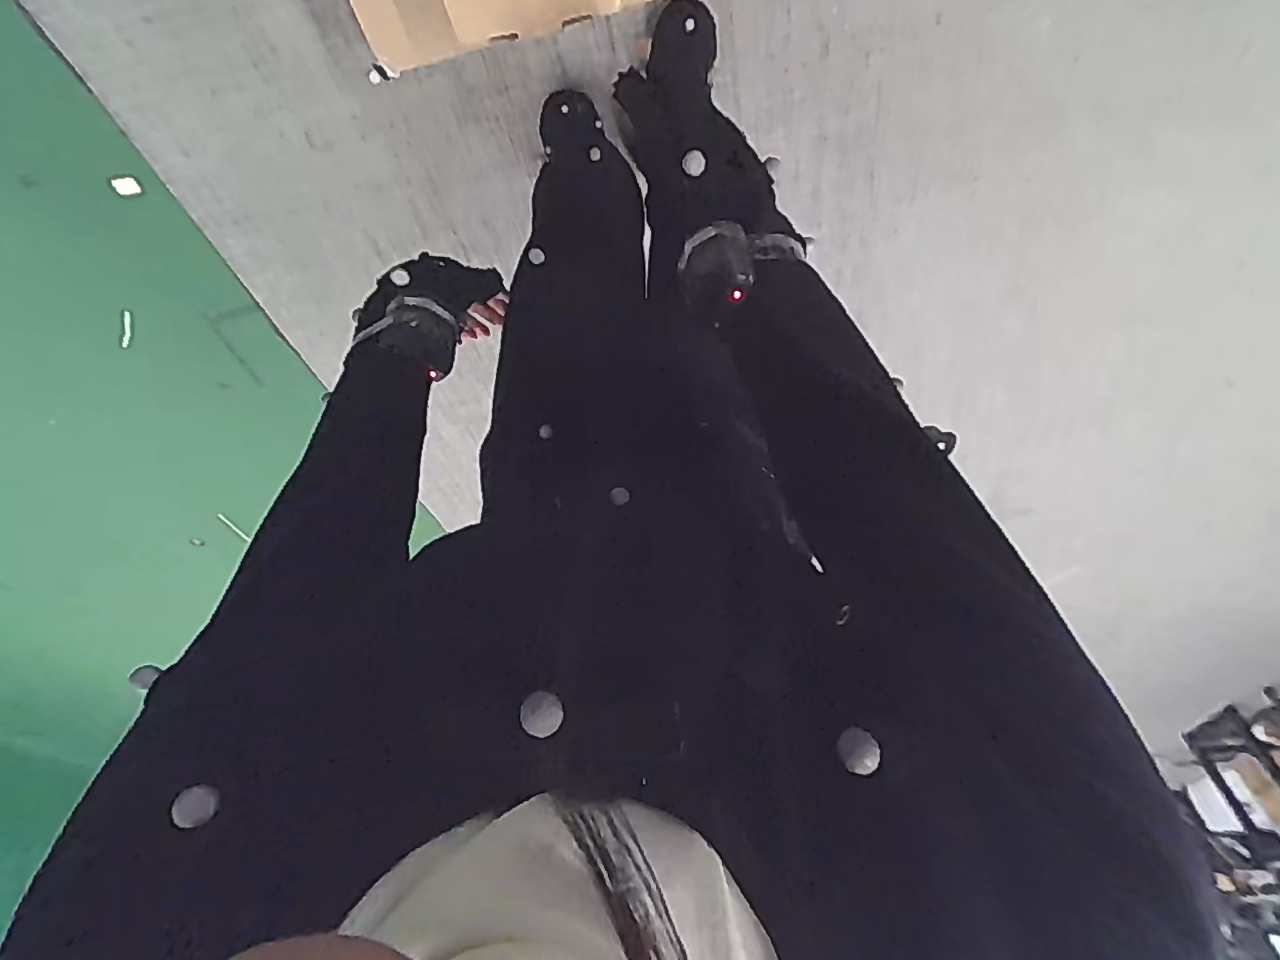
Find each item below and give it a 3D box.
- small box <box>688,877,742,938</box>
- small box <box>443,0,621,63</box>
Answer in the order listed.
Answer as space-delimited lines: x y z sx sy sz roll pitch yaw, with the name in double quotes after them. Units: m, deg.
0.280 1.613 2.040 0.179 0.176 0.168 -12 137 9 "small box"
-0.111 -0.541 0.518 0.168 0.176 0.179 -8 139 6 "small box"
